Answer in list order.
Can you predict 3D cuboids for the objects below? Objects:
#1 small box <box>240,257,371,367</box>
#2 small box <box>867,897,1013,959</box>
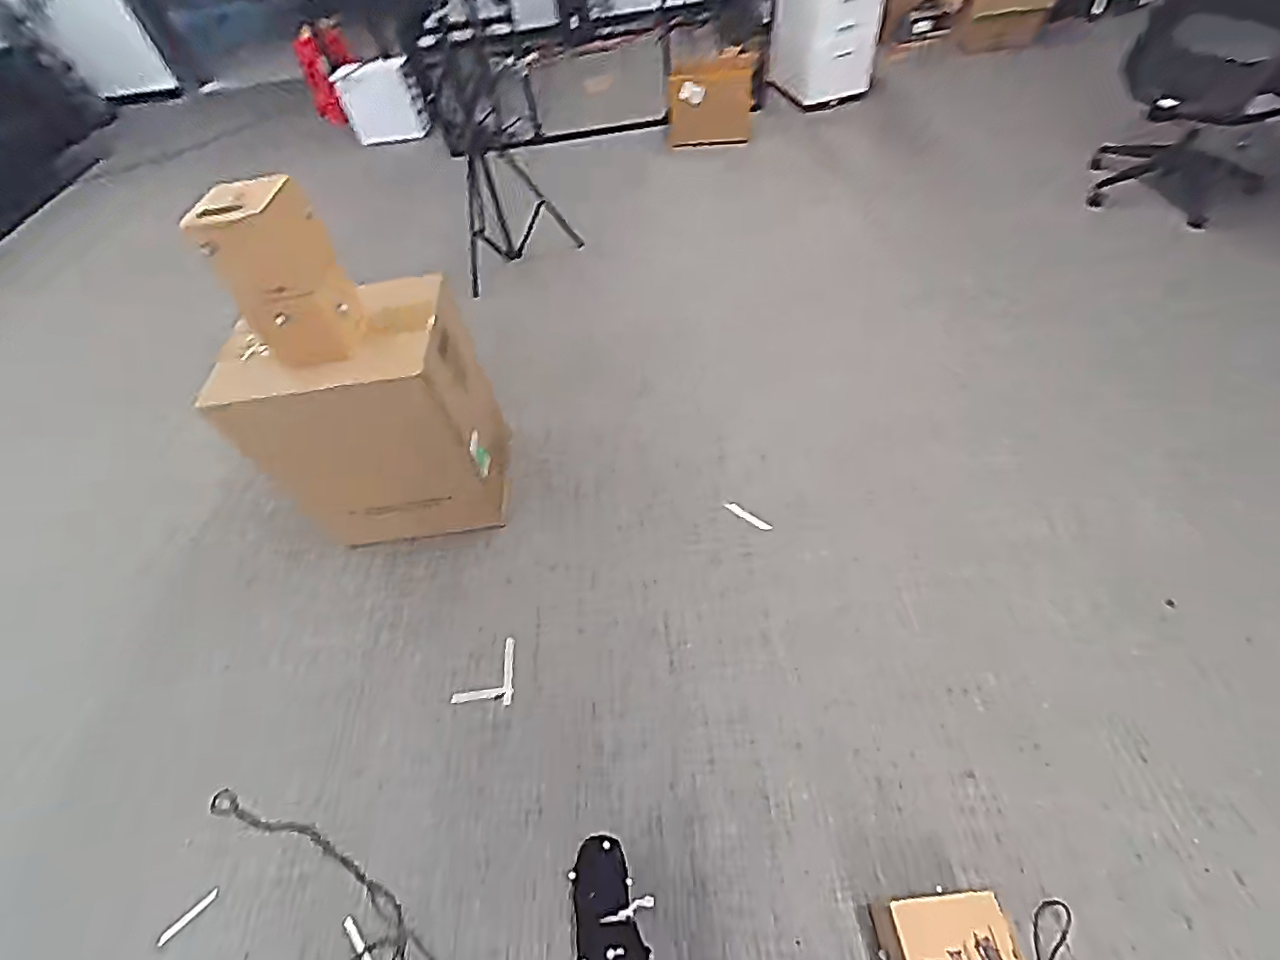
[{"bbox_3d":[-0.751,-0.381,1.238,0.179,0.176,0.168,-8,52,2],"label":"small box"},{"bbox_3d":[0.514,0.821,0.920,0.179,0.176,0.168,-8,52,3],"label":"small box"}]
